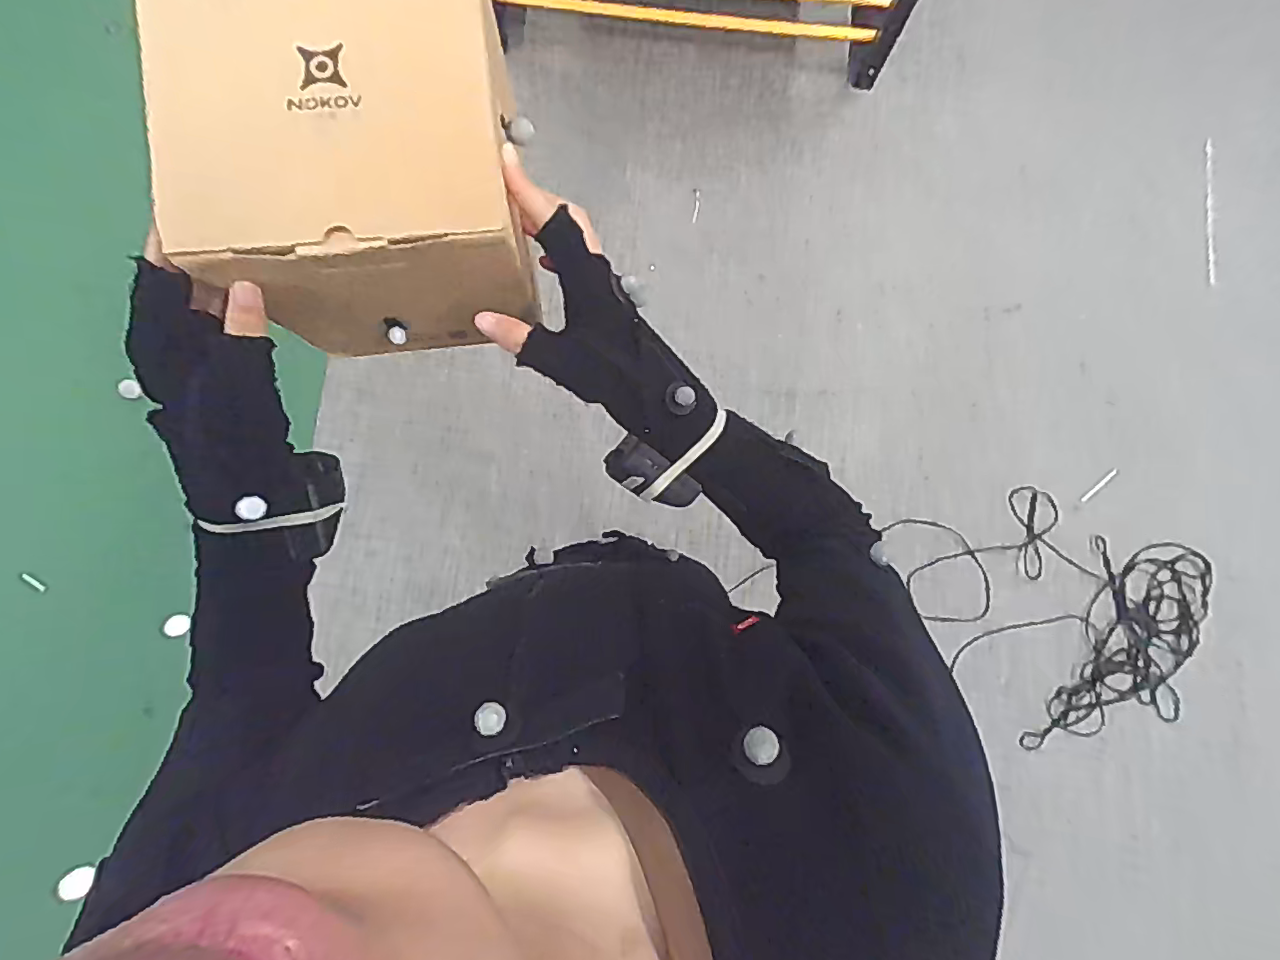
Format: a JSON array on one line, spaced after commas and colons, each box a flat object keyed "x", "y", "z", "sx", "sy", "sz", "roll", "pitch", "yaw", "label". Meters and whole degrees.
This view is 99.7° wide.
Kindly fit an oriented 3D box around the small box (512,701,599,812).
[{"x": -0.200, "y": 0.677, "z": 1.342, "sx": 0.168, "sy": 0.176, "sz": 0.179, "roll": 15, "pitch": 83, "yaw": 0, "label": "small box"}]
